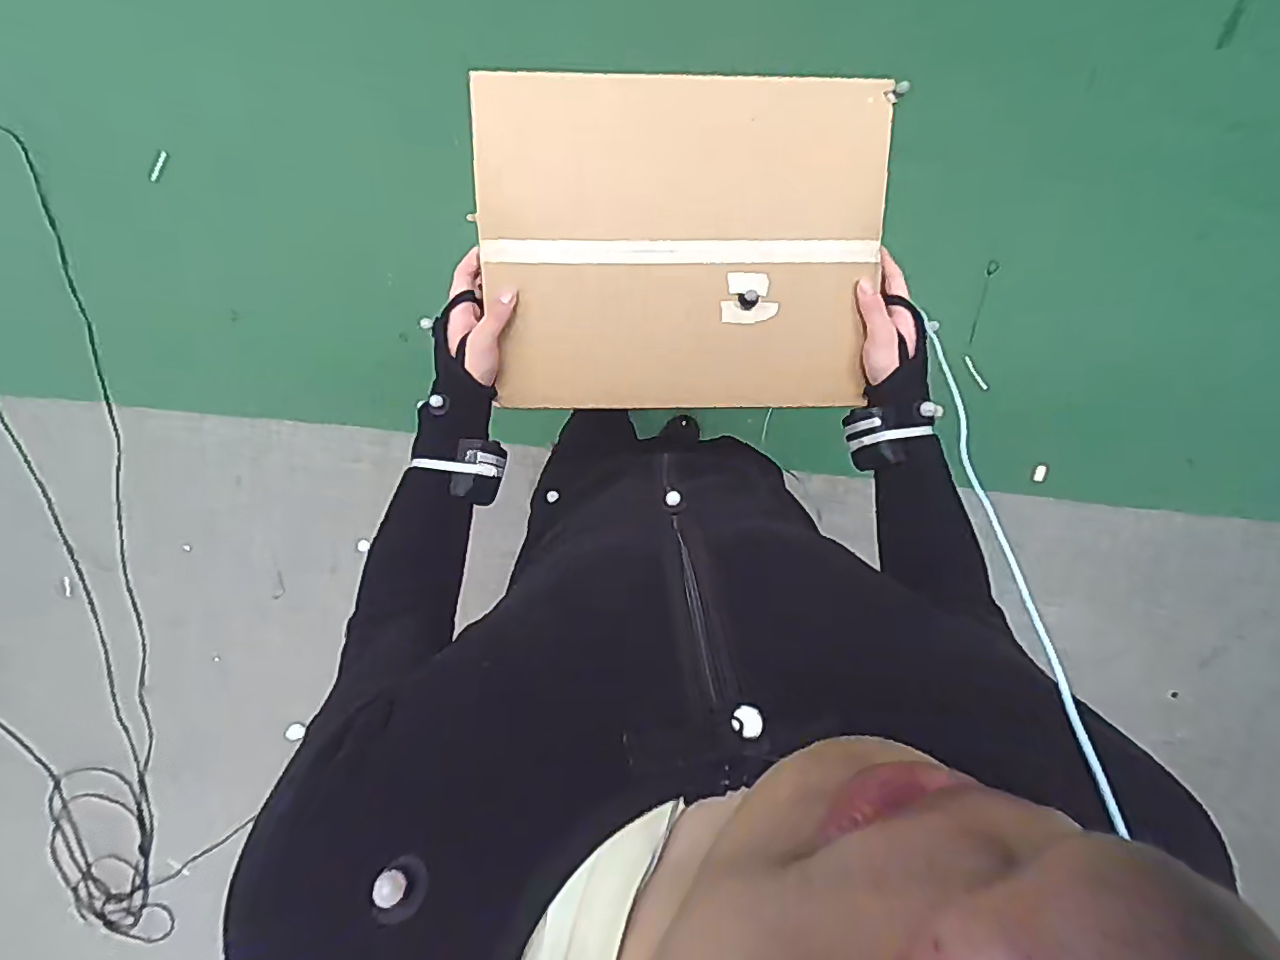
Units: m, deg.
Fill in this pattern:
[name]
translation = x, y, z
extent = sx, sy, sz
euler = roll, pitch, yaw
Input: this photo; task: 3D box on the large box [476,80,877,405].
[large box]
translation = 0.032, -0.266, 0.702
extent = 0.408, 0.320, 0.320
euler = -1, 102, -3
